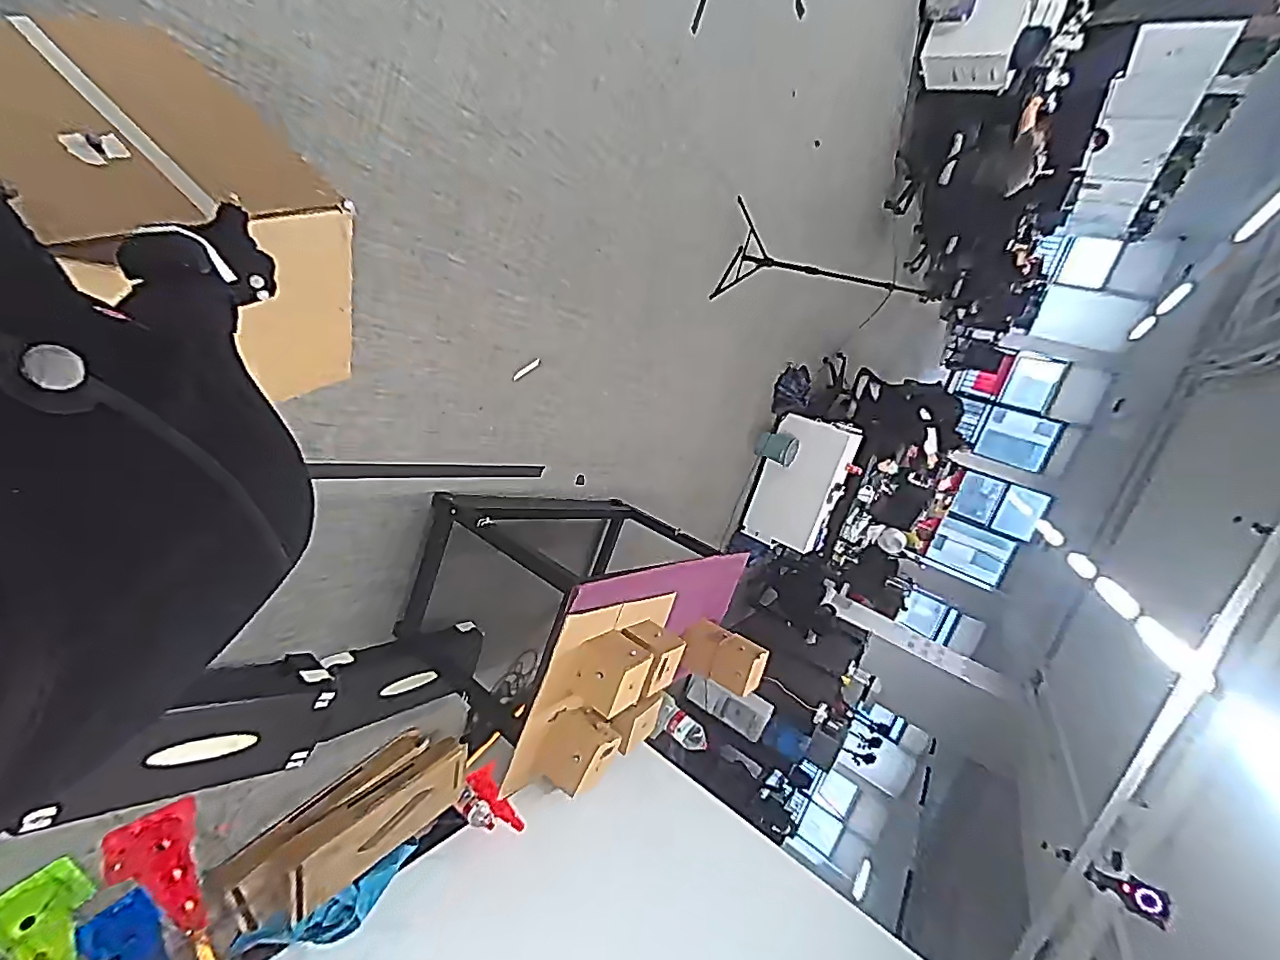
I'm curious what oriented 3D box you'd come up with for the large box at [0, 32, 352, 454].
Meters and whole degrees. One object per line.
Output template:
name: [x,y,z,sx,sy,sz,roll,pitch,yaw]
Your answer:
large box: [-0.665,-0.316,0.736,0.320,0.408,0.320,-39,170,-42]
